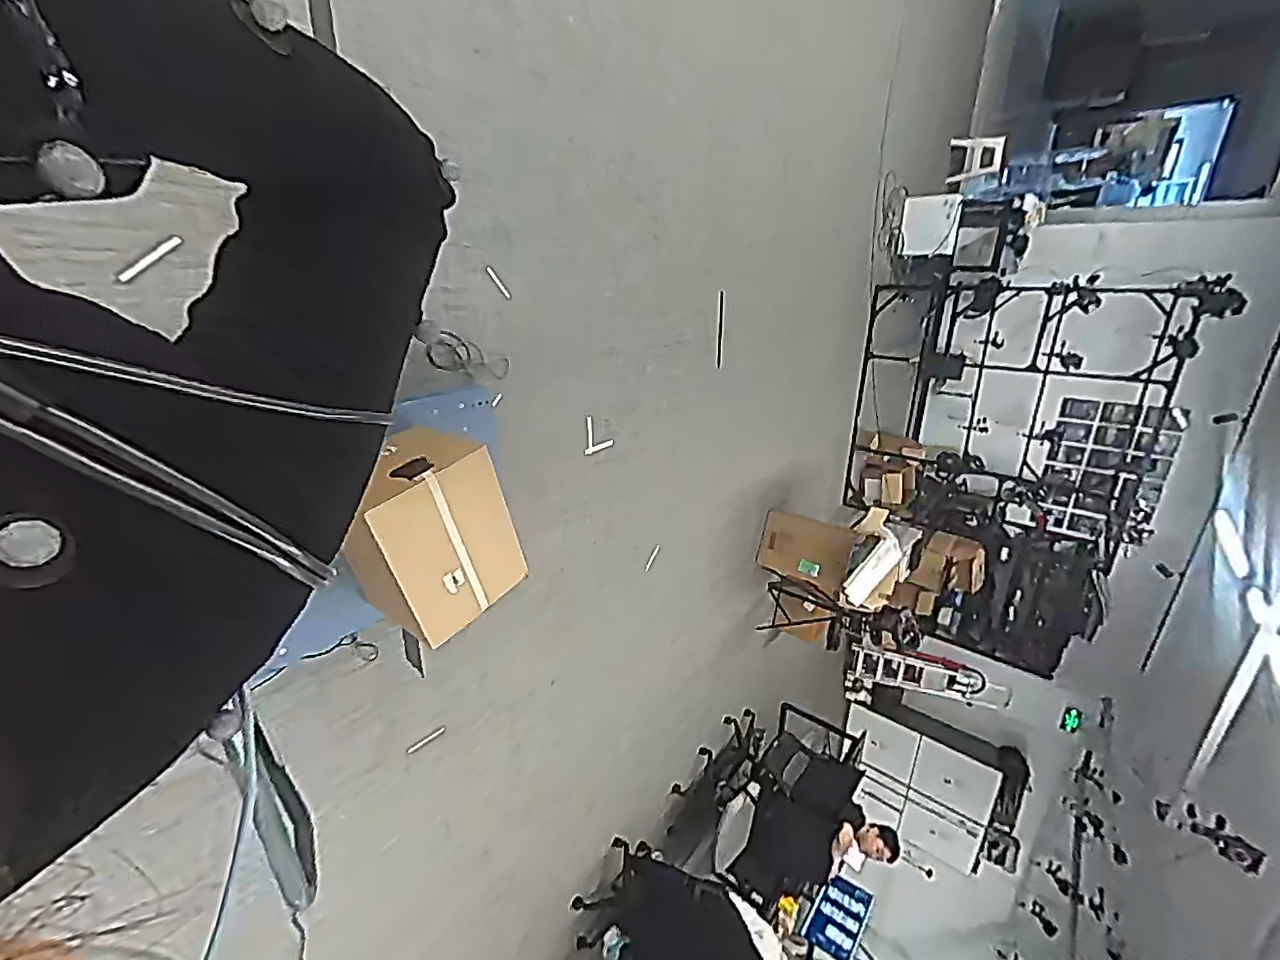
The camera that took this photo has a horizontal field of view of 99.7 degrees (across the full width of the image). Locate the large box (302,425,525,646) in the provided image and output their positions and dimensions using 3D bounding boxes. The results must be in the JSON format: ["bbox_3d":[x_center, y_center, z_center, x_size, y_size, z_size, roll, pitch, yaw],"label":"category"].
[{"bbox_3d":[-0.547,0.122,1.350,0.320,0.320,0.408,-38,131,-38],"label":"large box"}]
